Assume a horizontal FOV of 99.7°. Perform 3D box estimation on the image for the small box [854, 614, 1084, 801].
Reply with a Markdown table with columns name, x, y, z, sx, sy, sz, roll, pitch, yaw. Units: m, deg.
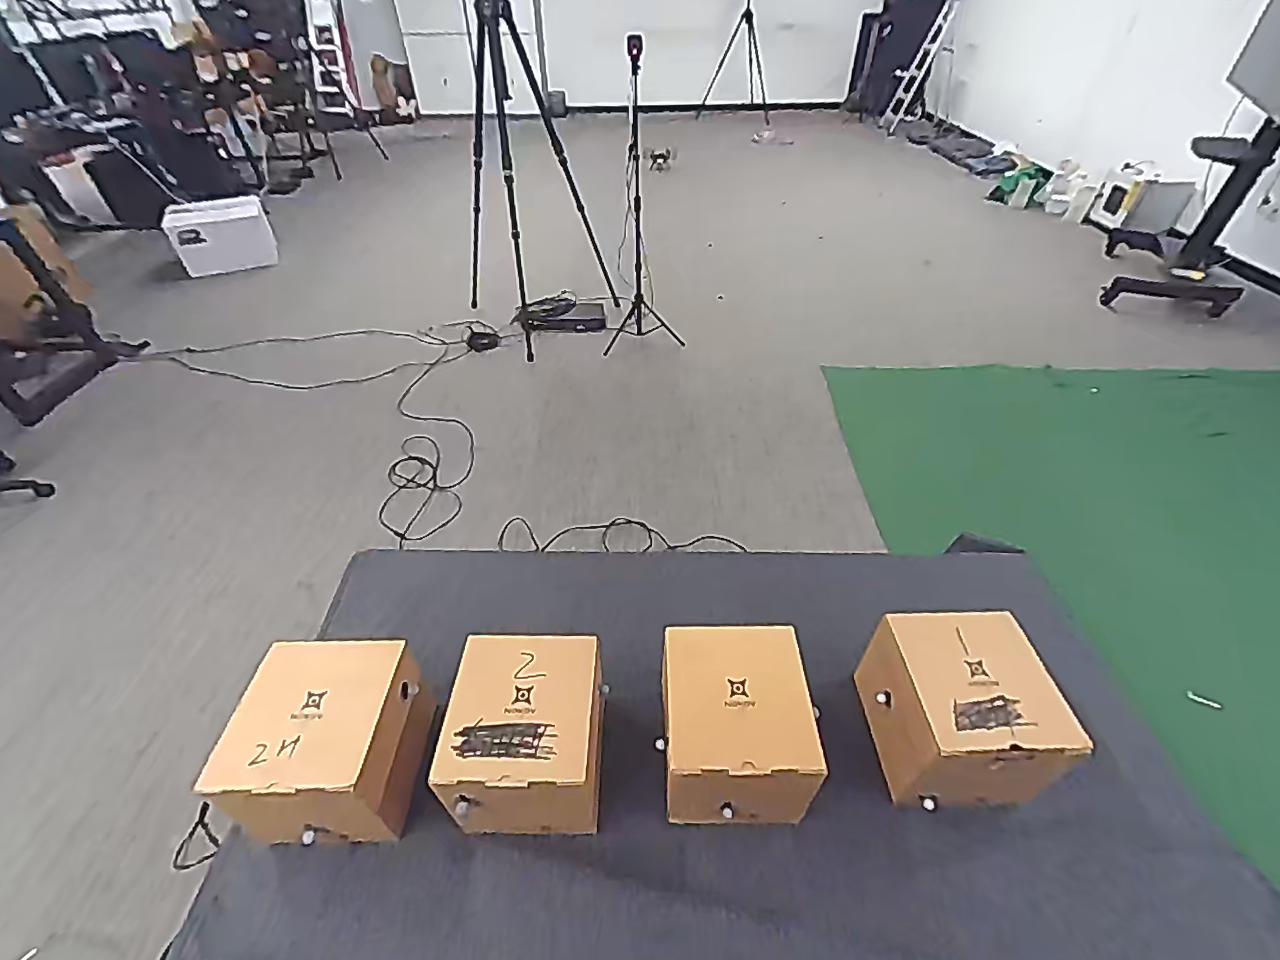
| name | x | y | z | sx | sy | sz | roll | pitch | yaw |
| --- | --- | --- | --- | --- | --- | --- | --- | --- | --- |
| small box | 0.396 | 0.293 | 0.691 | 0.168 | 0.176 | 0.179 | -1 | 42 | 0 |

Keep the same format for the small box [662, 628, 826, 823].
| name | x | y | z | sx | sy | sz | roll | pitch | yaw |
| --- | --- | --- | --- | --- | --- | --- | --- | --- | --- |
| small box | 0.114 | 0.308 | 0.682 | 0.168 | 0.176 | 0.179 | 0 | 43 | 0 |

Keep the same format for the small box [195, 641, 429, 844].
| name | x | y | z | sx | sy | sz | roll | pitch | yaw |
| --- | --- | --- | --- | --- | --- | --- | --- | --- | --- |
| small box | -0.374 | 0.318 | 0.662 | 0.168 | 0.176 | 0.179 | 0 | 41 | -1 |
